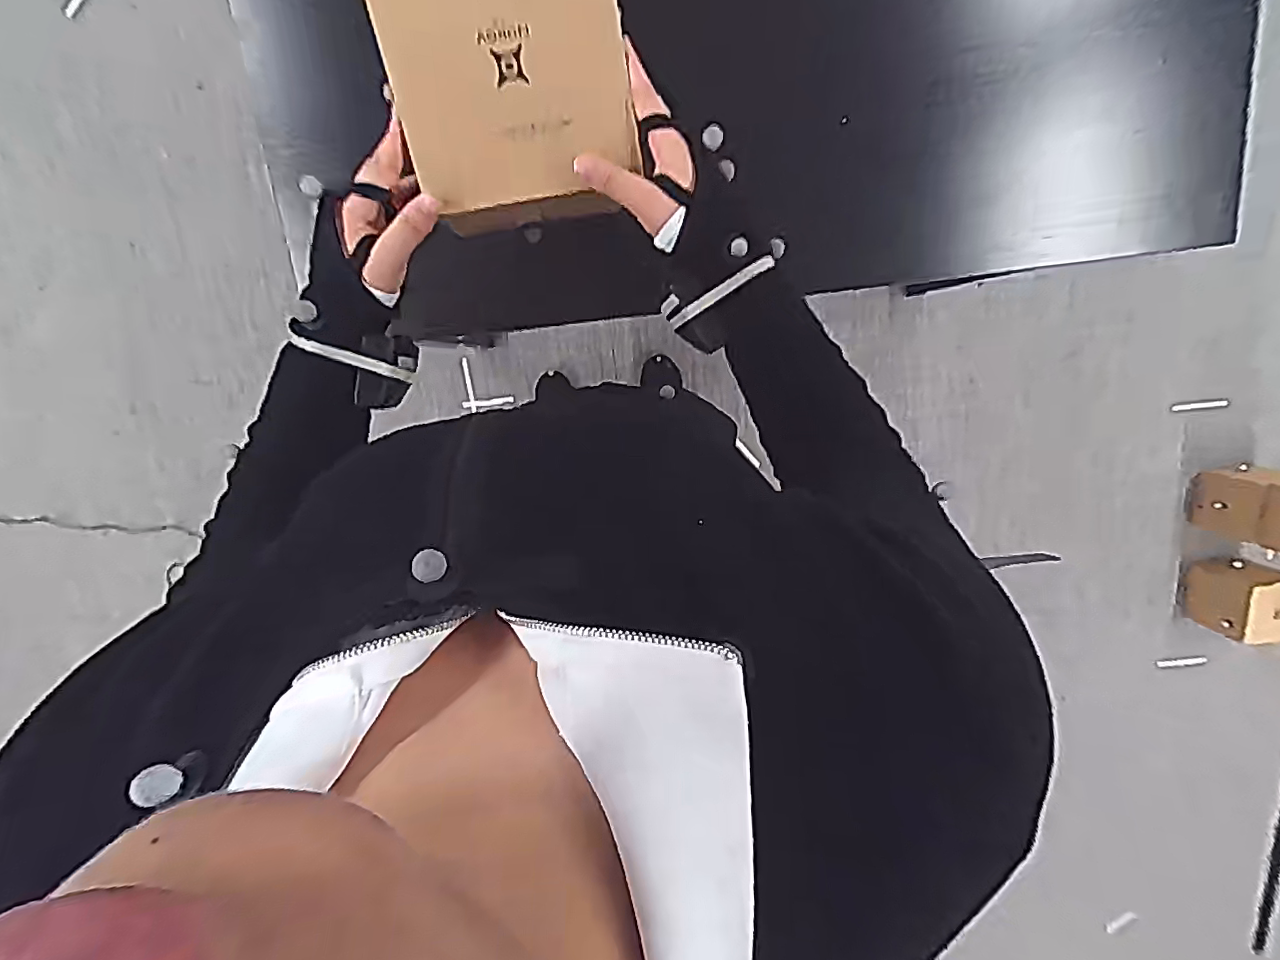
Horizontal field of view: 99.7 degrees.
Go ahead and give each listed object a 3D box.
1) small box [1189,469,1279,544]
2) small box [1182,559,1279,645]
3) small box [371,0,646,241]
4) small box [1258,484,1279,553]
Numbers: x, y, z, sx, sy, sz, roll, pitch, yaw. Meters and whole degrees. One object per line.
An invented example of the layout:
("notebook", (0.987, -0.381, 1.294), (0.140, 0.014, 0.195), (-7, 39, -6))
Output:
("small box", (1.669, 0.067, 1.474), (0.179, 0.176, 0.168), (-4, 103, 0))
("small box", (1.708, 0.344, 1.539), (0.168, 0.176, 0.179), (-7, 103, 0))
("small box", (-0.100, -0.310, 0.444), (0.168, 0.176, 0.179), (-12, 110, -5))
("small box", (1.681, 0.105, 1.313), (0.168, 0.176, 0.179), (-4, 103, -1))
